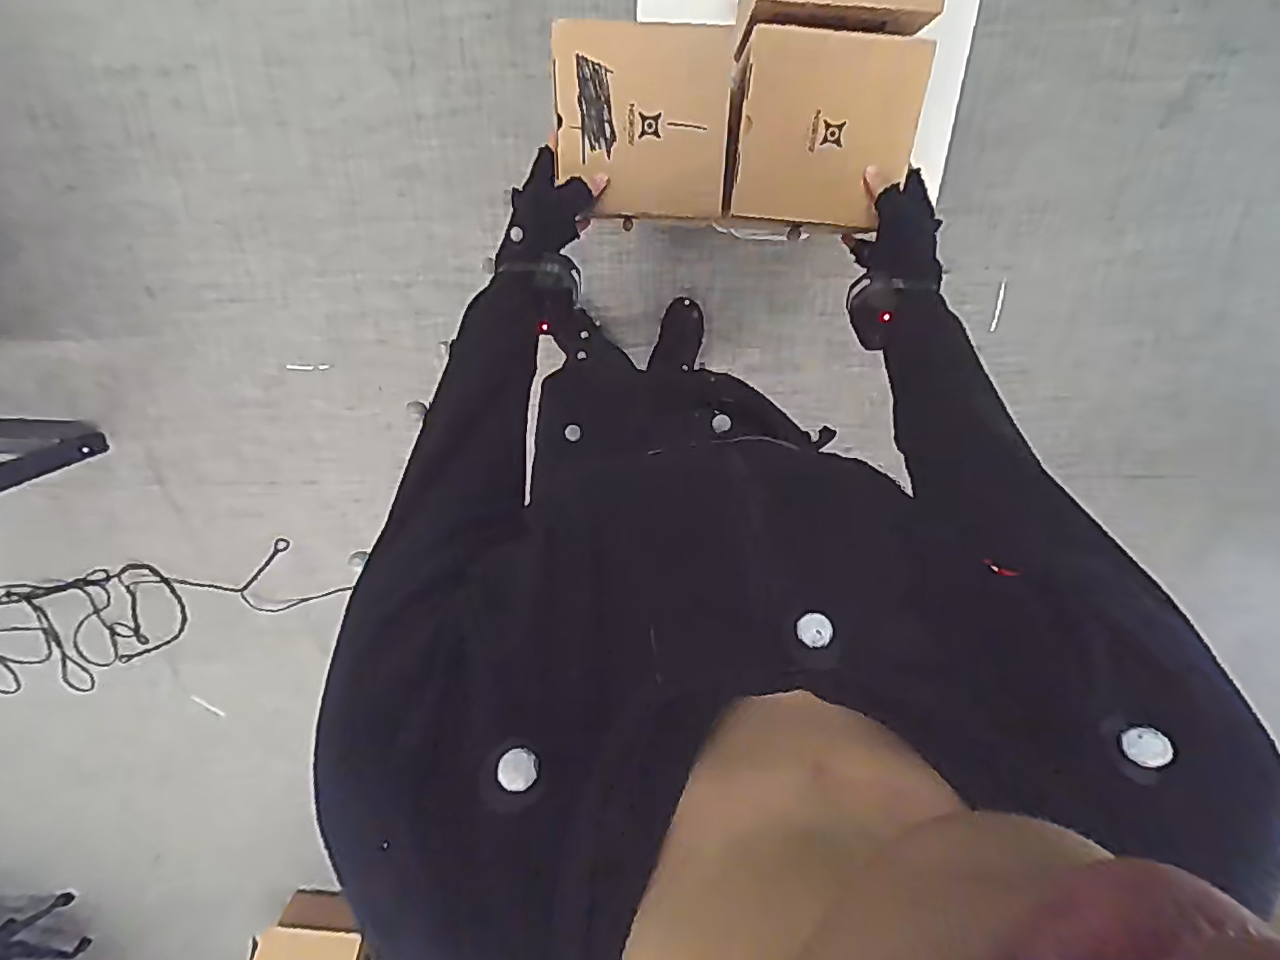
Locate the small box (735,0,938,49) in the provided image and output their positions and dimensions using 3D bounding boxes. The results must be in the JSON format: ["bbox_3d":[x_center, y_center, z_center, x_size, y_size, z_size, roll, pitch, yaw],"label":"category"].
[{"bbox_3d":[0.199,-0.552,0.531,0.179,0.176,0.168,4,113,1],"label":"small box"}]
